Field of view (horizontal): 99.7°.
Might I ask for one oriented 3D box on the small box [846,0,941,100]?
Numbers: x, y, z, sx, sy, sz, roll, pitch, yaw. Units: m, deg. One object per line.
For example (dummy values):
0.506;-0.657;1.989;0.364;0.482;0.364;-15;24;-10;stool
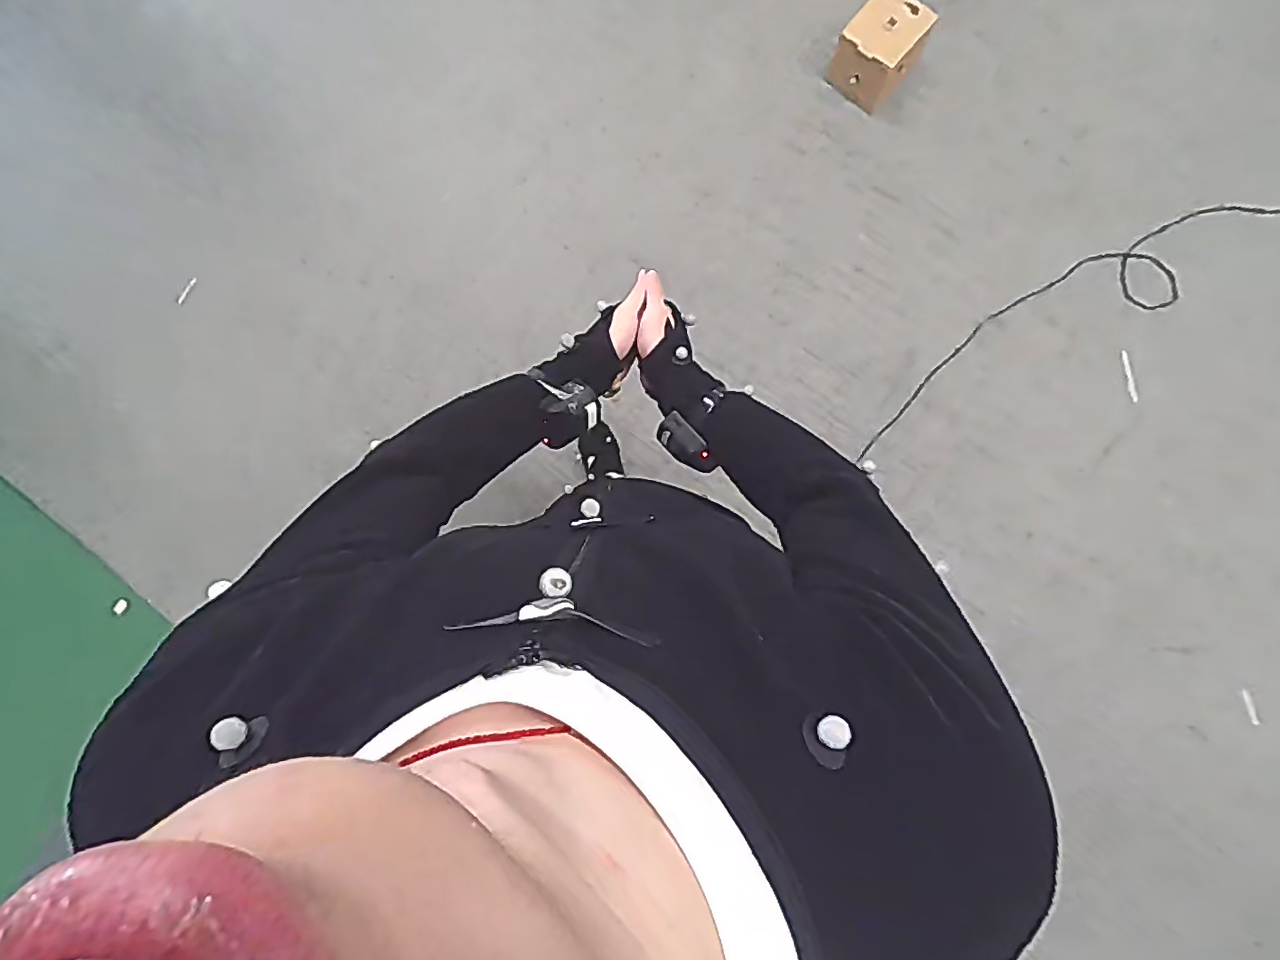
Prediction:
0.662;-1.147;1.430;0.179;0.176;0.168;13;88;9;small box
